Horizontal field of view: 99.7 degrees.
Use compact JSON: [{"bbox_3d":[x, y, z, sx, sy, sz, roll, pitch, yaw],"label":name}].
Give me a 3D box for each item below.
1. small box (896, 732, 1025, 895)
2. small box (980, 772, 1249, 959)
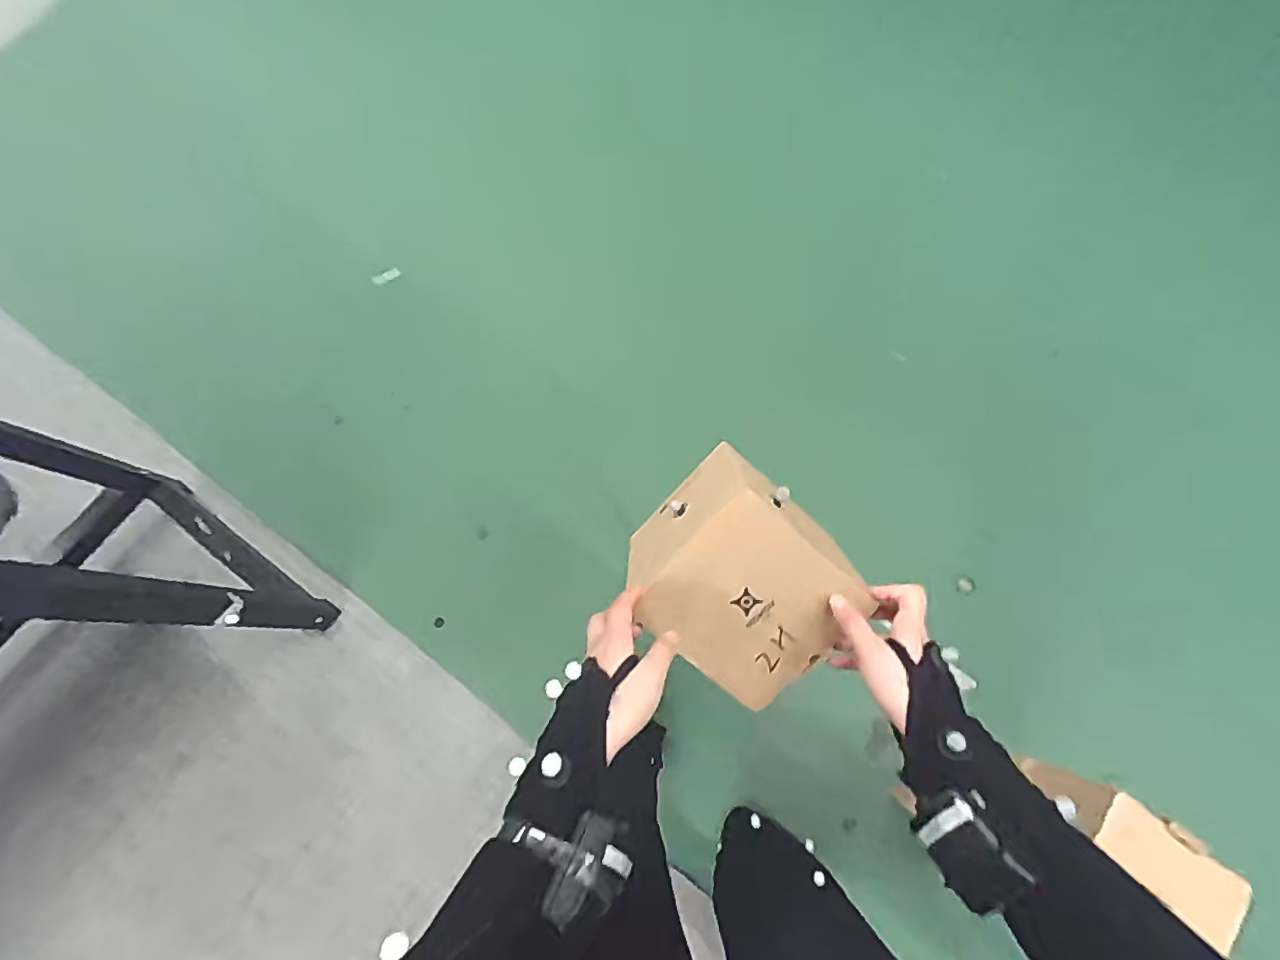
[{"bbox_3d":[0.613,0.607,1.013,0.168,0.176,0.179,42,79,13],"label":"small box"},{"bbox_3d":[0.589,0.516,0.697,0.168,0.176,0.179,38,77,11],"label":"small box"}]
